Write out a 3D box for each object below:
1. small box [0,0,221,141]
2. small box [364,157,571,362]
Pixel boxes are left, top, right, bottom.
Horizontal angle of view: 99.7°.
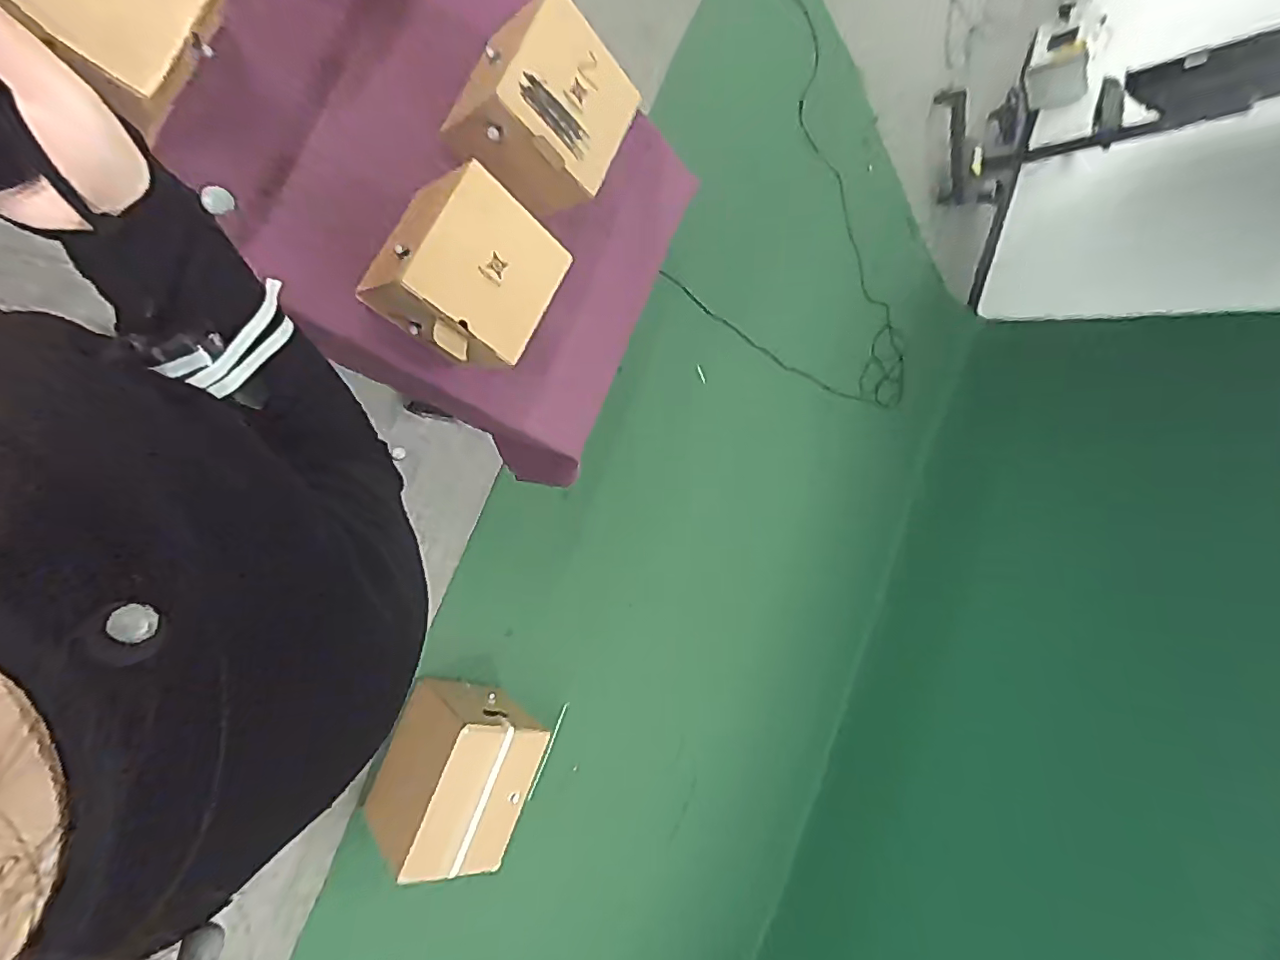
[{"bbox_3d":[-0.474,-0.428,0.448,0.168,0.176,0.179,28,80,-44],"label":"small box"},{"bbox_3d":[-0.230,-0.275,0.710,0.168,0.176,0.179,34,77,-42],"label":"small box"}]
